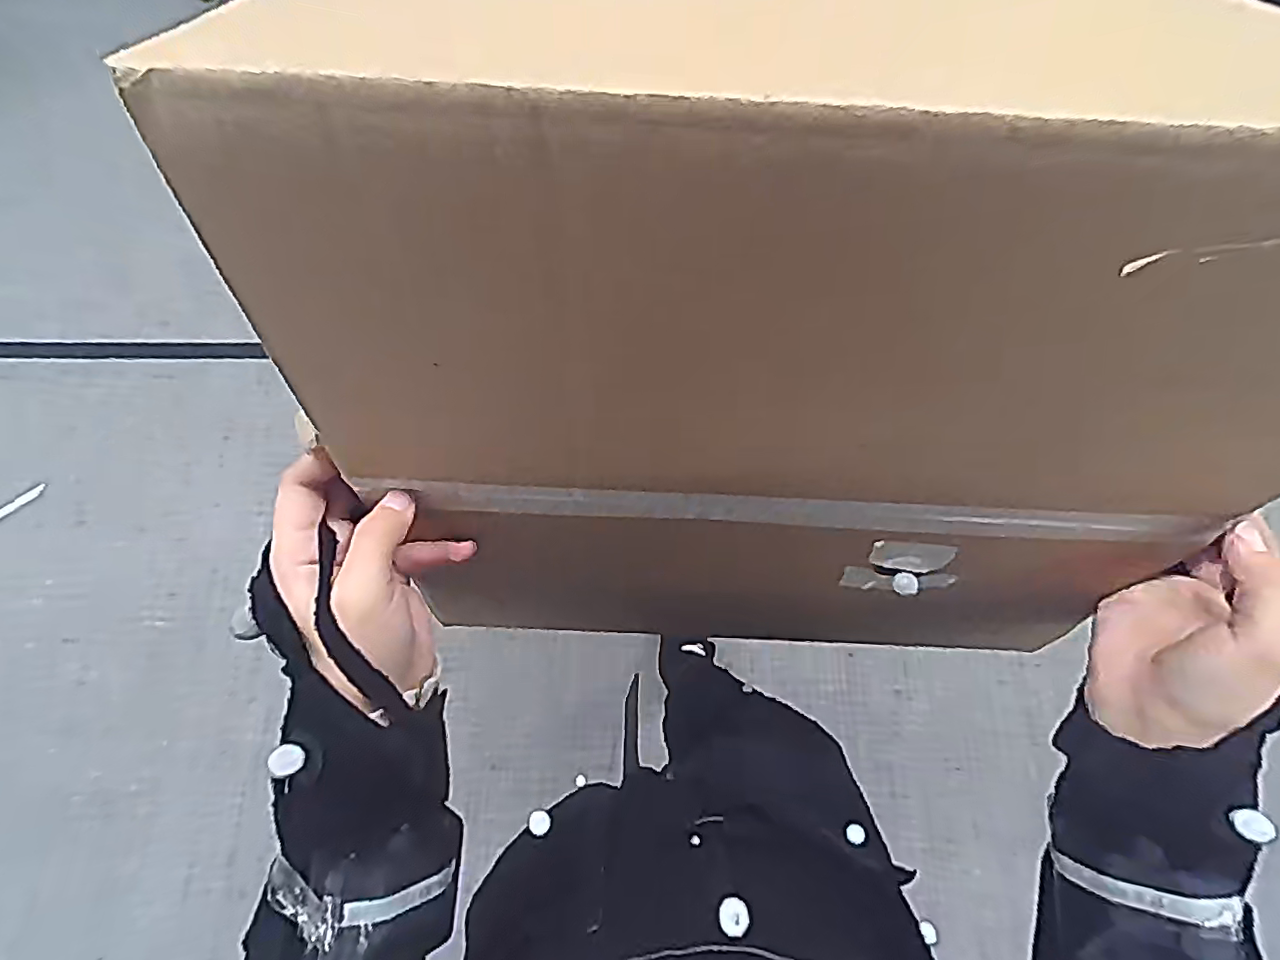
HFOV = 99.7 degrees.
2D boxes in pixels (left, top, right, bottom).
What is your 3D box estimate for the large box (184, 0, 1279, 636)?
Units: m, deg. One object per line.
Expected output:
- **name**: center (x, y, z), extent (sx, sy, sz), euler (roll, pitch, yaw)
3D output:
- **large box**: center (0.071, -0.108, 0.352), extent (0.408, 0.320, 0.320), euler (2, 52, -1)
